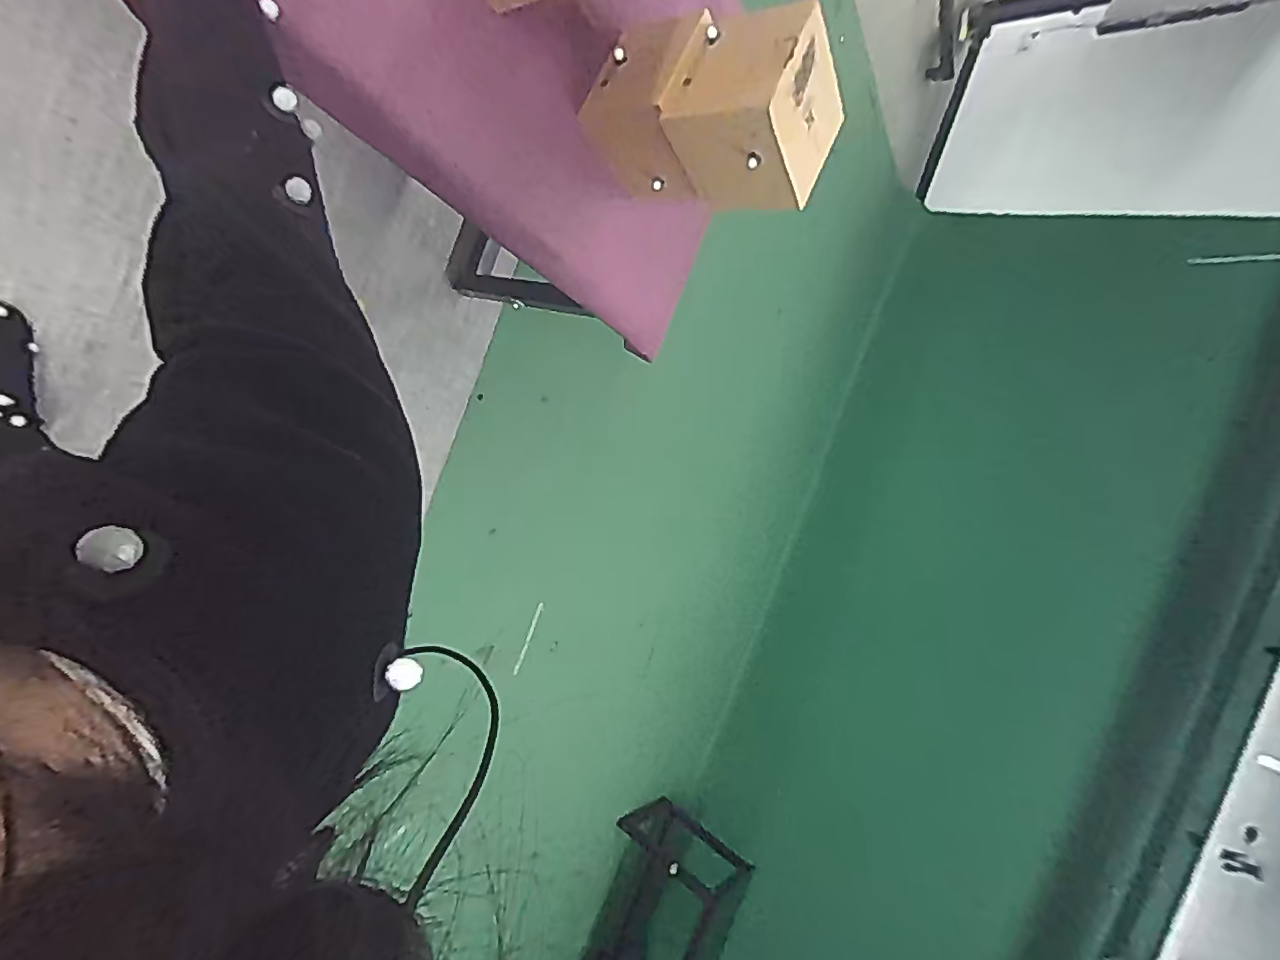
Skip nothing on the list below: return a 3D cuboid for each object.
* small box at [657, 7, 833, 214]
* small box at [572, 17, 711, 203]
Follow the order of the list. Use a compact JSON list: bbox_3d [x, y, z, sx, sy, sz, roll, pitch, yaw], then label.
[{"bbox_3d":[0.150,-0.507,0.770,0.179,0.176,0.168,35,79,-55],"label":"small box"},{"bbox_3d":[0.027,-0.572,0.856,0.179,0.176,0.168,36,78,-54],"label":"small box"}]
